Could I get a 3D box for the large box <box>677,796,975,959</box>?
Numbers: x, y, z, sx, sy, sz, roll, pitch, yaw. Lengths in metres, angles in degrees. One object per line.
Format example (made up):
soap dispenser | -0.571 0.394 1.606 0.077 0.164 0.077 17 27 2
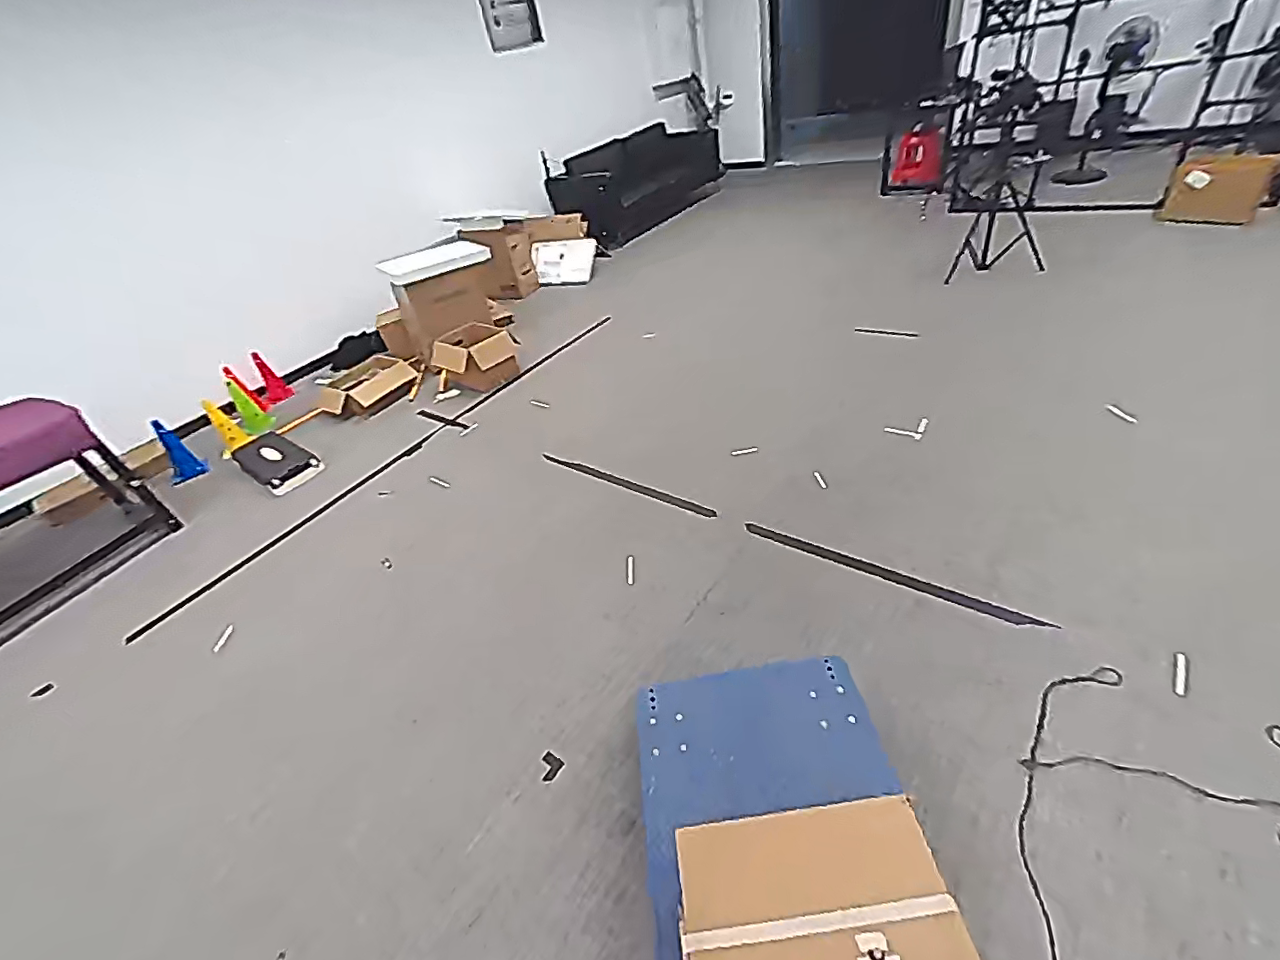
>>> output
large box | 0.293 0.789 0.905 0.408 0.320 0.320 -10 38 1
